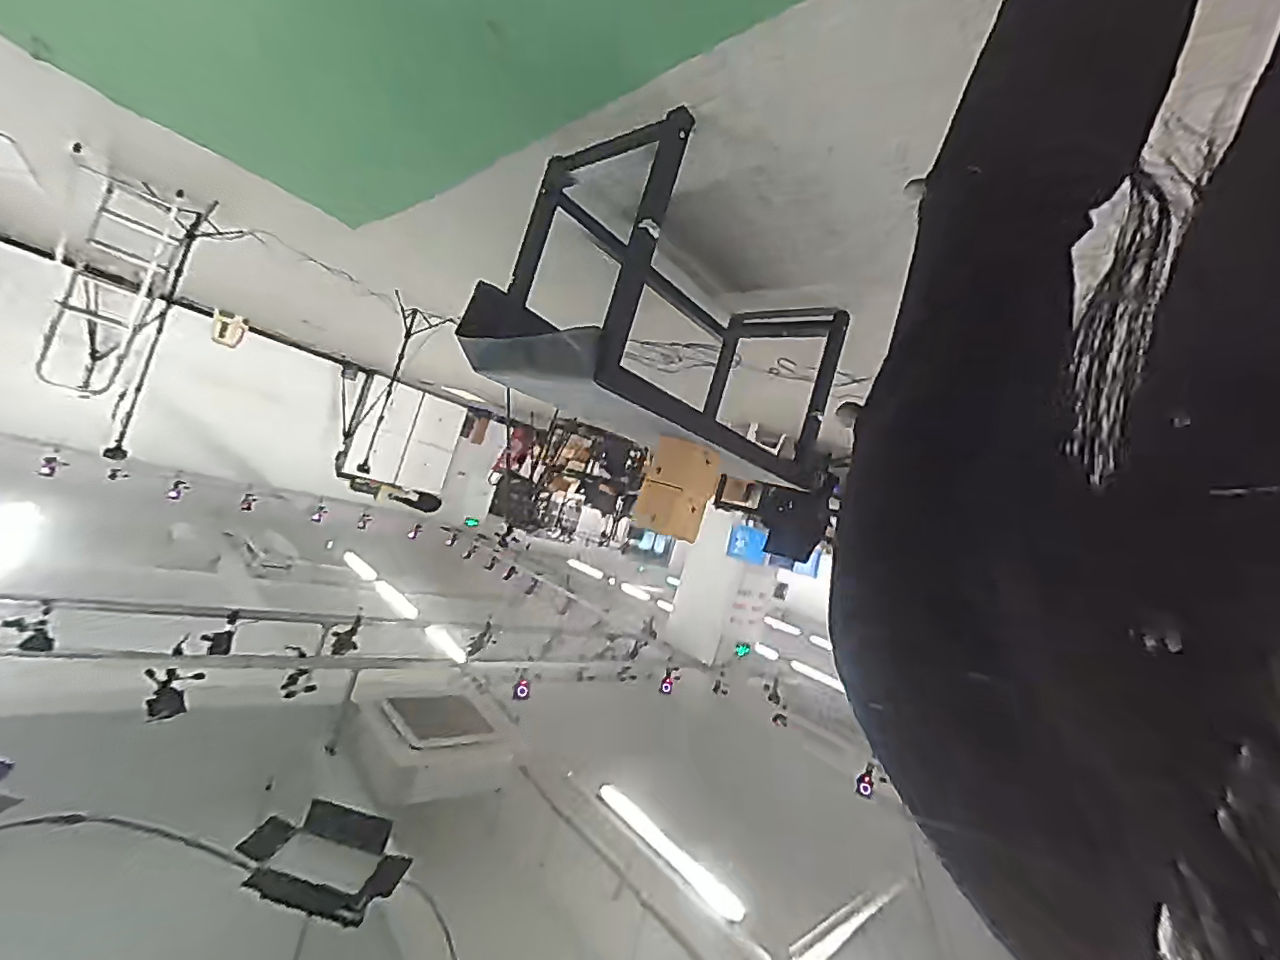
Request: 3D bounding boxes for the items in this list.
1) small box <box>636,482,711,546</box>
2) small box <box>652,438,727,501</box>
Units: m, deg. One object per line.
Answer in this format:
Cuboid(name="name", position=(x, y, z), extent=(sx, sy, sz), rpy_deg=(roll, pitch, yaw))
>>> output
Cuboid(name="small box", position=(0.119, 0.113, 1.868), extent=(0.179, 0.176, 0.168), rpy_deg=(14, 176, 43))
Cuboid(name="small box", position=(0.175, -0.040, 1.871), extent=(0.179, 0.176, 0.168), rpy_deg=(15, 177, 44))
